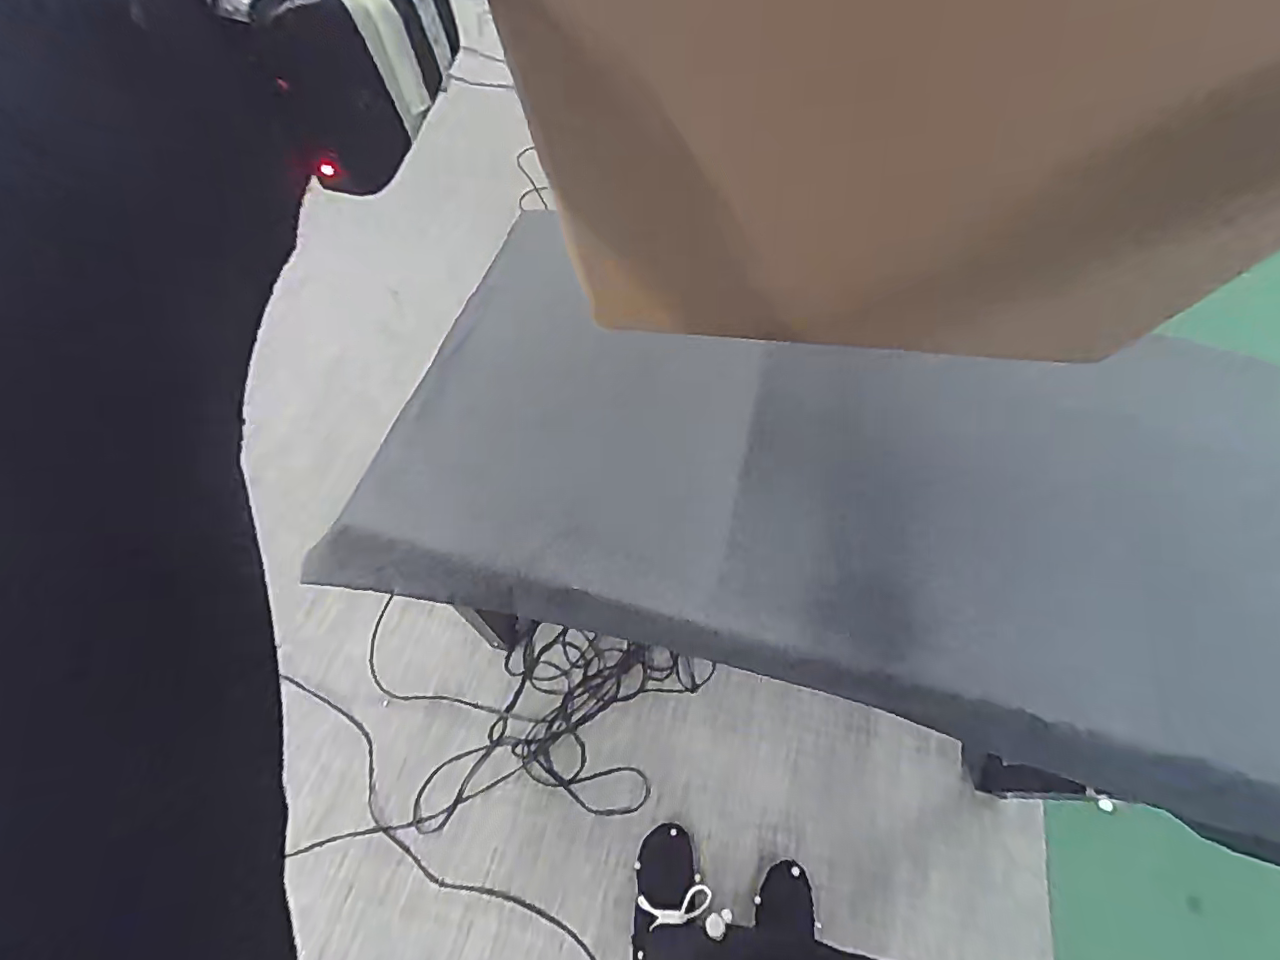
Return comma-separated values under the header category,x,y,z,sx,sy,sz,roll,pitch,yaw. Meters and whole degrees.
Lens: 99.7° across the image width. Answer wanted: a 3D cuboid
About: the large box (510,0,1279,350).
category,x,y,z,sx,sy,sz,roll,pitch,yaw
large box,0.161,-0.299,0.339,0.408,0.320,0.320,6,77,6
